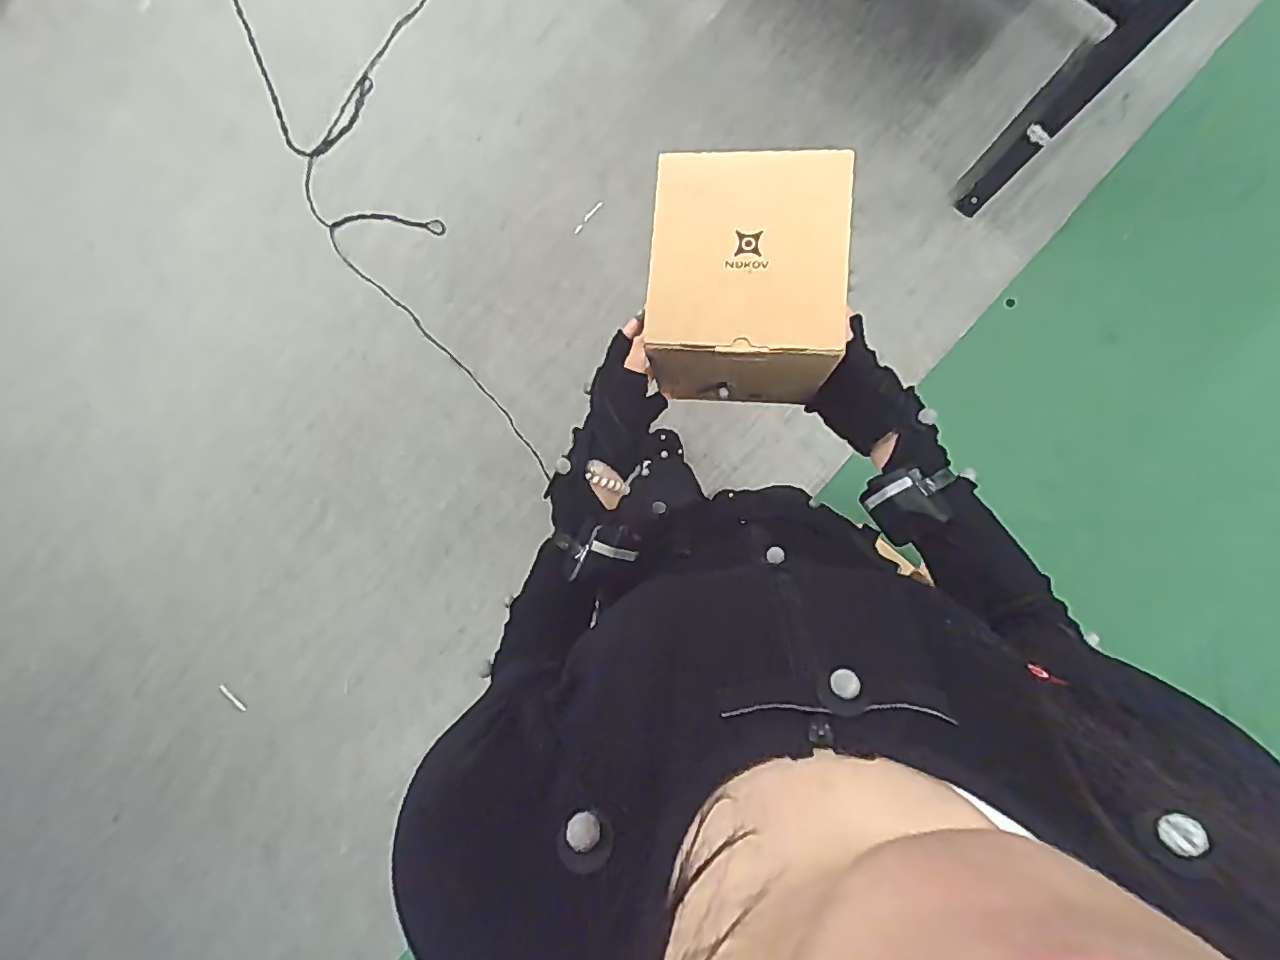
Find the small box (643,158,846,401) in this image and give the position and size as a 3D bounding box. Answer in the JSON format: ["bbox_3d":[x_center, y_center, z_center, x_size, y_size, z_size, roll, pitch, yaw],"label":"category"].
[{"bbox_3d":[0.099,-0.189,0.546,0.168,0.176,0.179,4,86,8],"label":"small box"}]
